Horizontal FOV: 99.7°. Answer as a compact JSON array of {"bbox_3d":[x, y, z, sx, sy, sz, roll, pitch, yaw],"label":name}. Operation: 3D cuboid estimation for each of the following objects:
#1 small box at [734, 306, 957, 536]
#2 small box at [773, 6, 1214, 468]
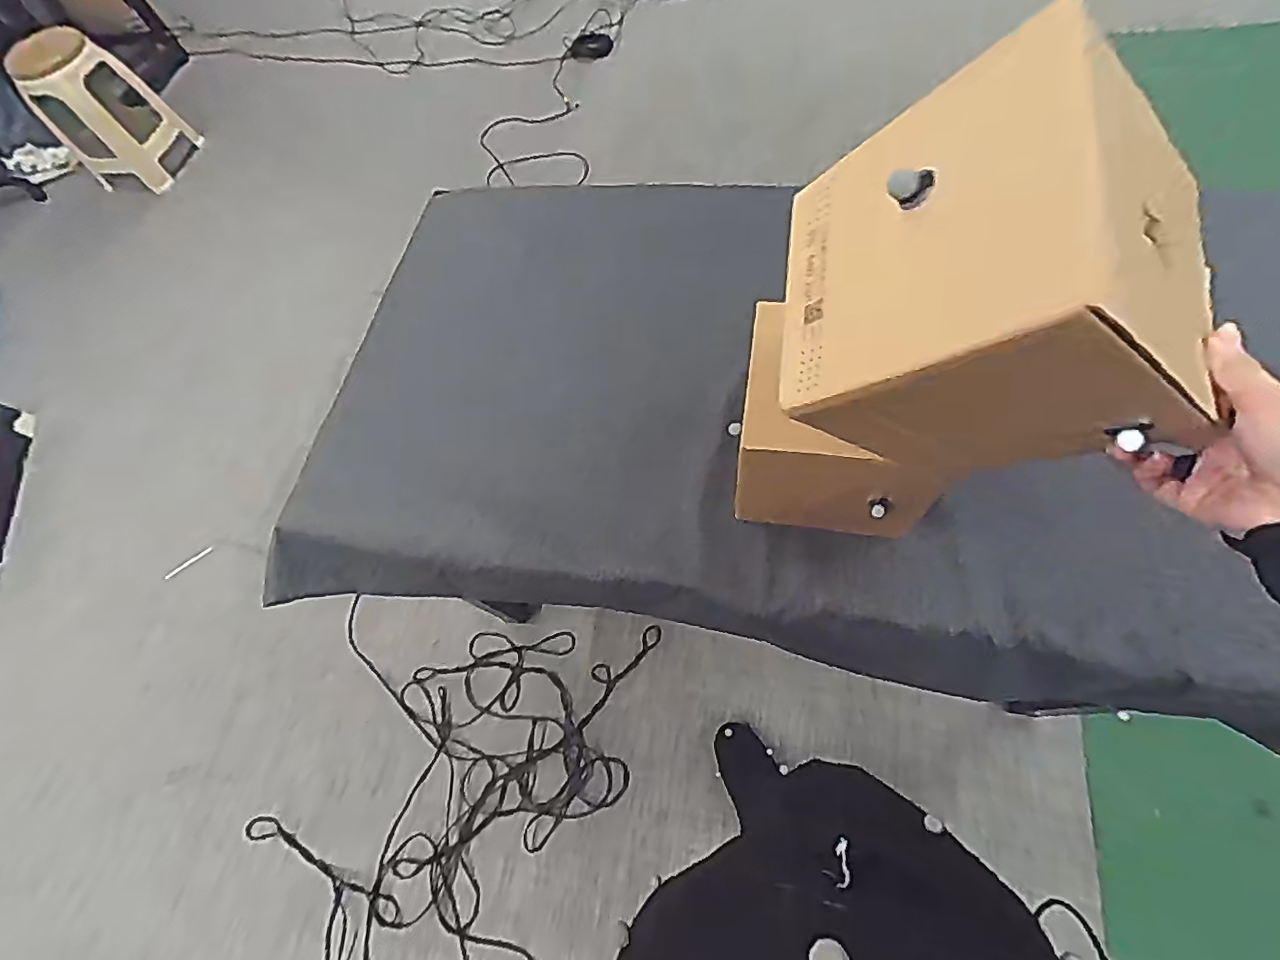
[{"bbox_3d":[0.193,-0.052,0.548,0.179,0.176,0.168,6,65,12],"label":"small box"},{"bbox_3d":[0.205,-0.115,0.341,0.179,0.176,0.168,17,72,-29],"label":"small box"}]
